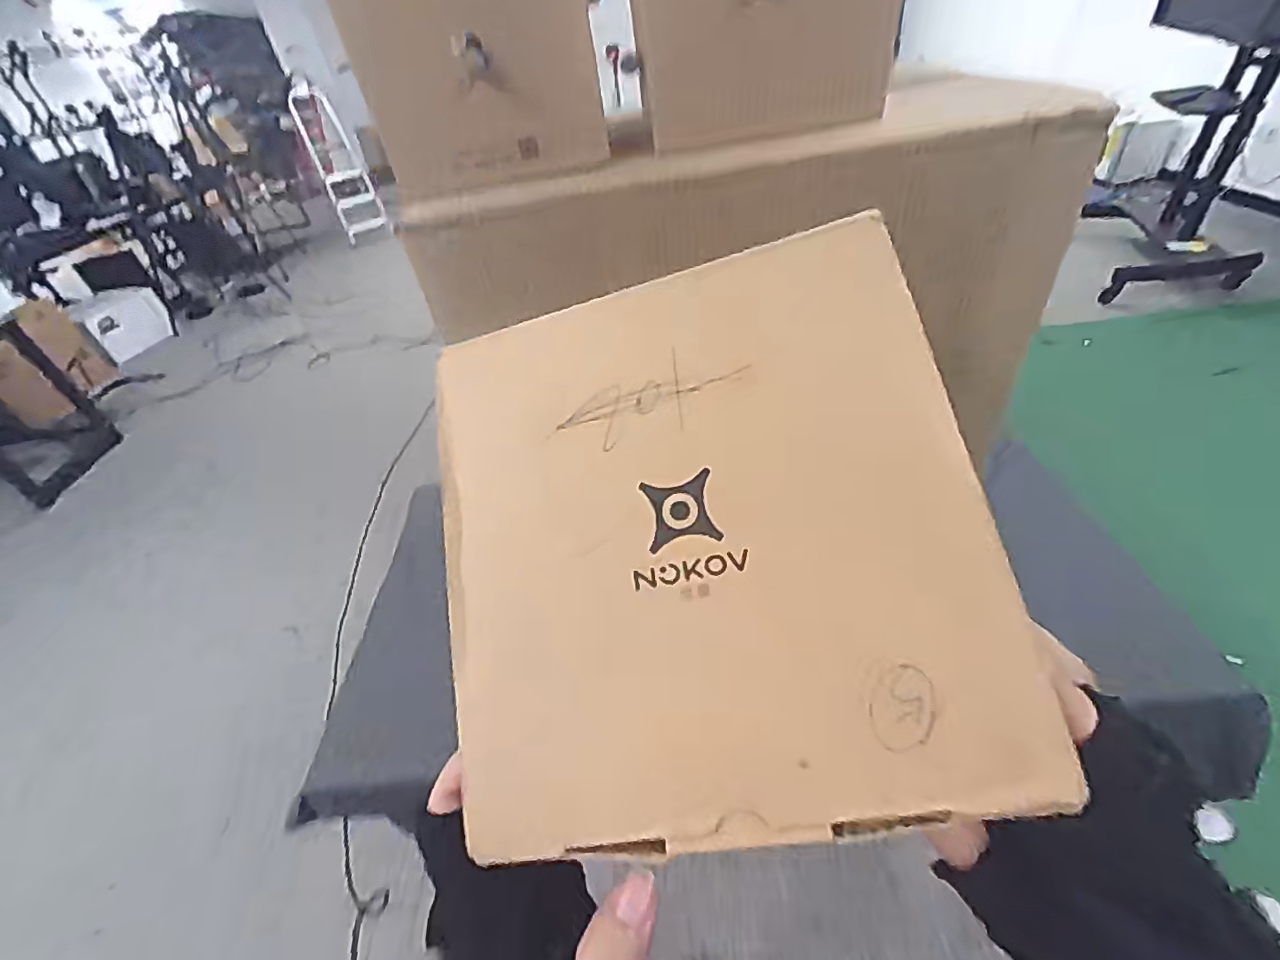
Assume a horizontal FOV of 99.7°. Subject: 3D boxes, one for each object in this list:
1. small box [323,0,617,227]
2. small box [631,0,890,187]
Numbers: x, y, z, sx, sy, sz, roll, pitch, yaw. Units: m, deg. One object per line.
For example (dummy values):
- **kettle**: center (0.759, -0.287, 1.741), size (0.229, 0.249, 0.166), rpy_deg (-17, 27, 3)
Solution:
- **small box**: center (-0.120, -0.327, 0.446), size (0.168, 0.176, 0.179), rpy_deg (-13, 42, 0)
- **small box**: center (0.085, -0.357, 0.432), size (0.179, 0.176, 0.168), rpy_deg (-8, 43, 4)
